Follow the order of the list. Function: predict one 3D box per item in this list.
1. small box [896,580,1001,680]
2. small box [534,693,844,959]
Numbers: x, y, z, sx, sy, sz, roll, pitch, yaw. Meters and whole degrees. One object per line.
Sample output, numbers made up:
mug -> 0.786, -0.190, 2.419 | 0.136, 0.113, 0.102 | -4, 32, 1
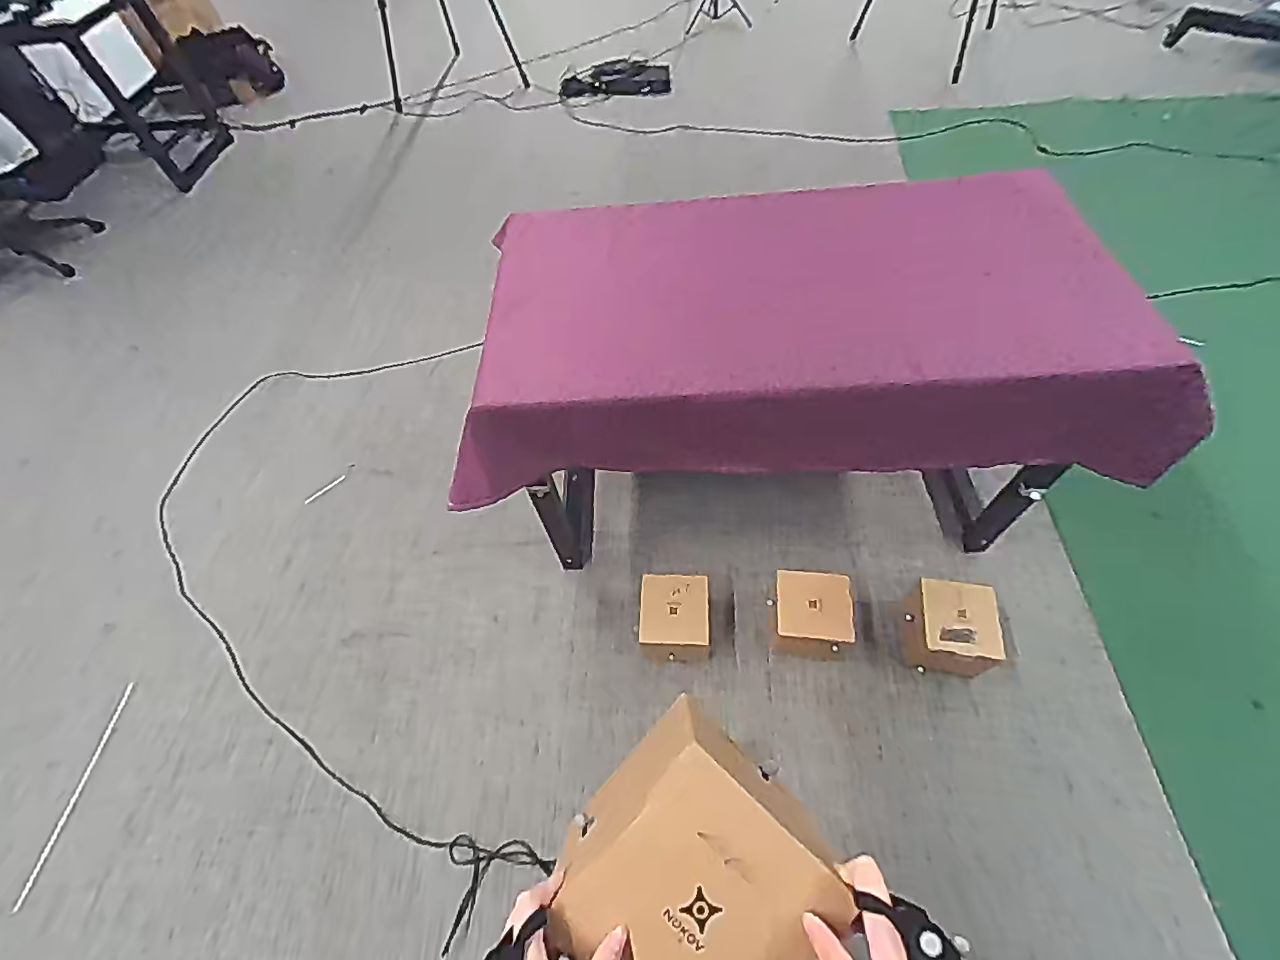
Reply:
small box -> 0.738, 0.368, 1.314 | 0.168, 0.176, 0.179 | 6, 53, 9
small box -> 0.040, 0.324, 0.479 | 0.168, 0.176, 0.179 | 41, 85, 8
